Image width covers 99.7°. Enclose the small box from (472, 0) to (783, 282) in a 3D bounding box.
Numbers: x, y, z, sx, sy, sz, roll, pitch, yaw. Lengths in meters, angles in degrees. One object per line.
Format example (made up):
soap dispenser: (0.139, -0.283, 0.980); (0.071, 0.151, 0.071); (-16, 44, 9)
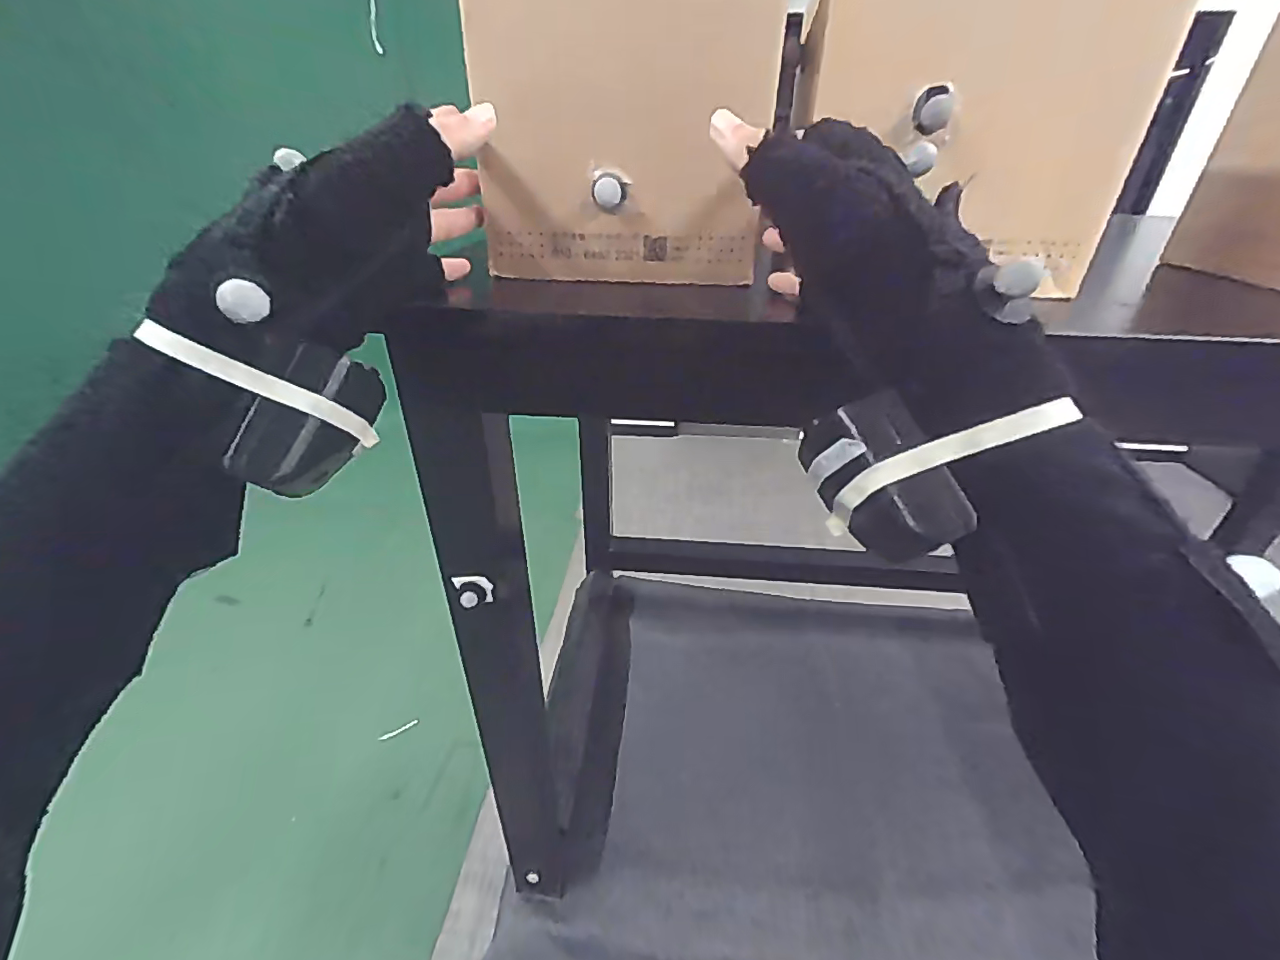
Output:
small box: (-0.006, -0.242, 0.369); (0.168, 0.176, 0.179); (3, 32, 3)
